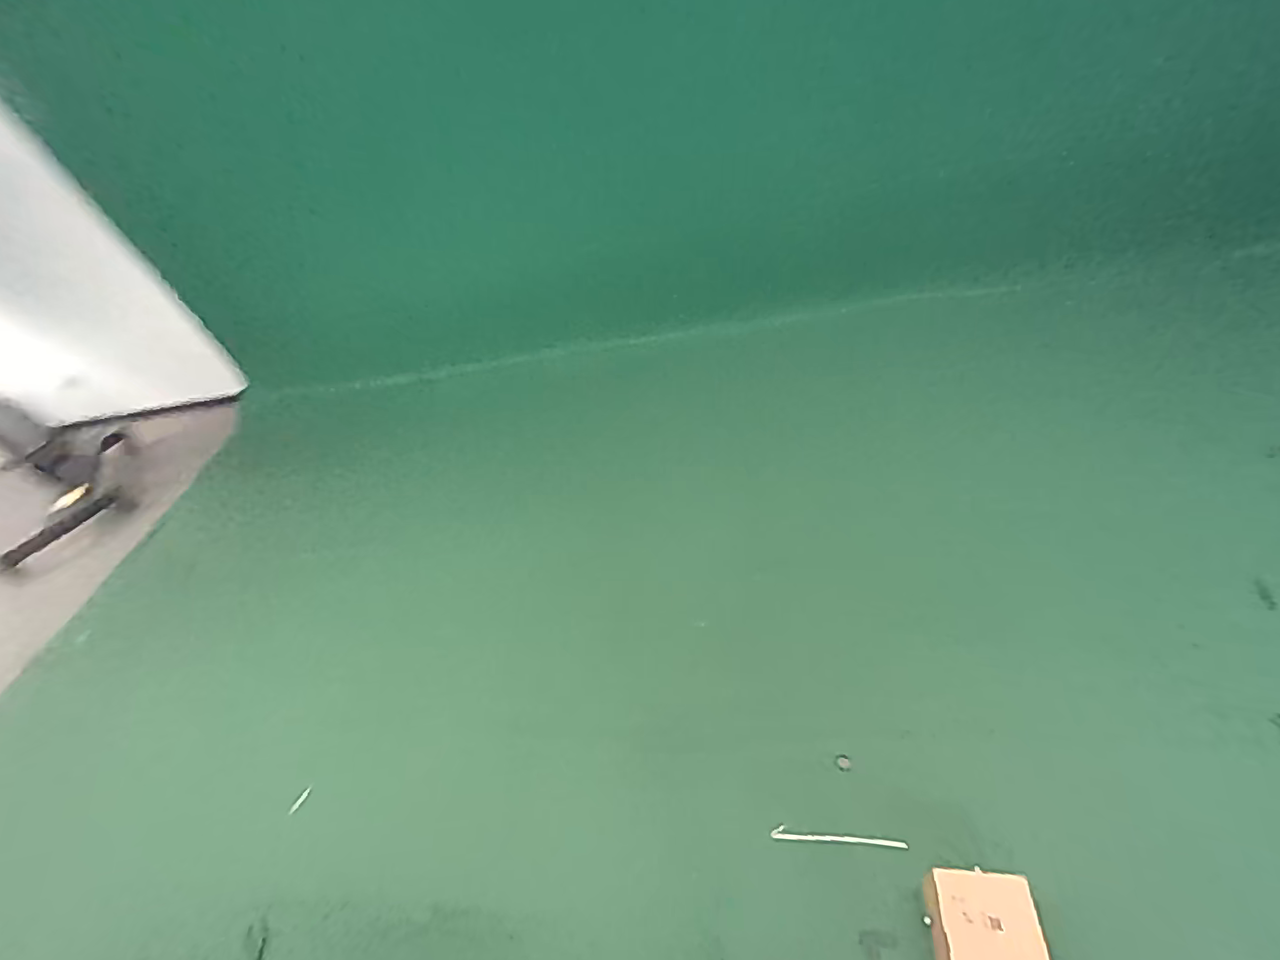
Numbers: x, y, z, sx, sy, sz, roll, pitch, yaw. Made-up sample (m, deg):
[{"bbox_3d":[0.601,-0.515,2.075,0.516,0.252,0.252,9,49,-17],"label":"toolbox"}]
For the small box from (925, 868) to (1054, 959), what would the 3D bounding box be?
[{"bbox_3d":[0.709,0.920,1.110,0.179,0.176,0.168,-3,46,14],"label":"small box"}]
